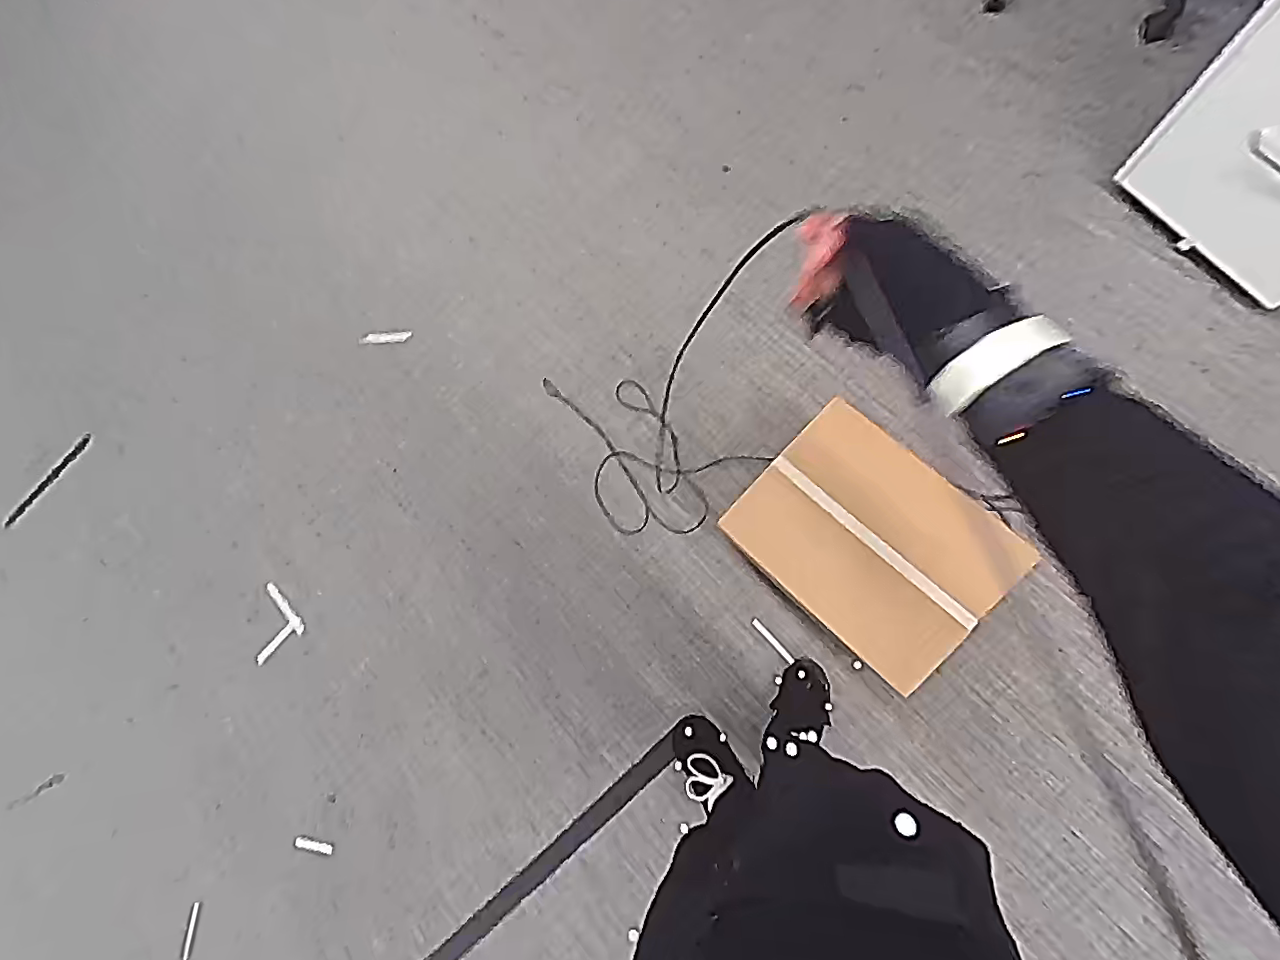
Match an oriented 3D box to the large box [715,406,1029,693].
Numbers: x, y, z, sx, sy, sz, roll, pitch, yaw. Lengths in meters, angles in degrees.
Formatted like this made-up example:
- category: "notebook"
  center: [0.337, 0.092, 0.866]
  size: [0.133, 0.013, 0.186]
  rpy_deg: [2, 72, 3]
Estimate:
- category: "large box"
  center: [0.408, 0.130, 1.050]
  size: [0.408, 0.320, 0.320]
  rpy_deg: [43, 90, 16]
